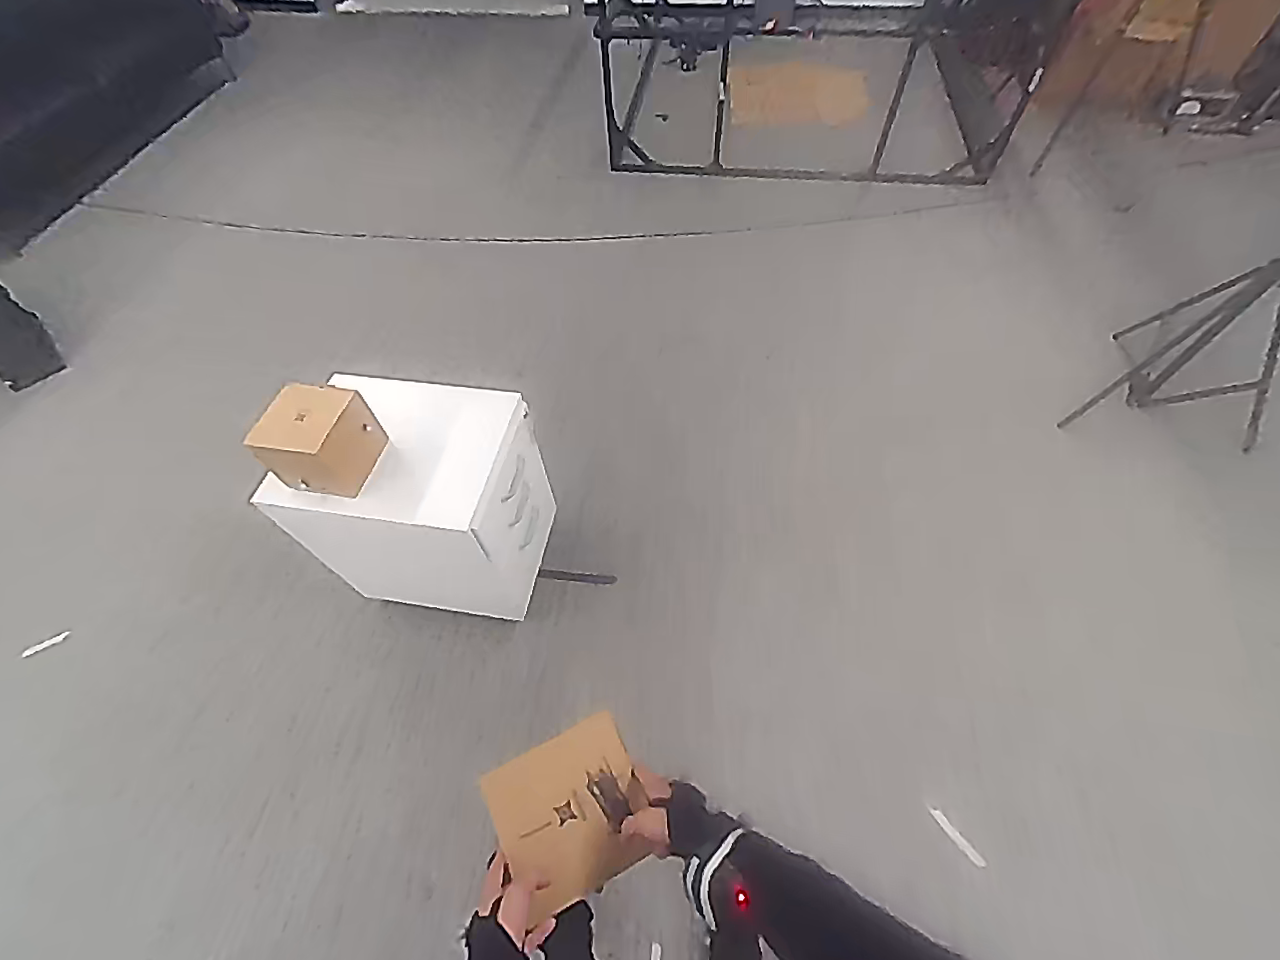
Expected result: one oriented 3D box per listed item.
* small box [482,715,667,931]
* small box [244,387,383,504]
[{"bbox_3d":[-0.085,0.432,0.710,0.179,0.176,0.168,-23,65,-15],"label":"small box"},{"bbox_3d":[-0.687,-0.072,1.167,0.168,0.176,0.179,7,56,8],"label":"small box"}]
